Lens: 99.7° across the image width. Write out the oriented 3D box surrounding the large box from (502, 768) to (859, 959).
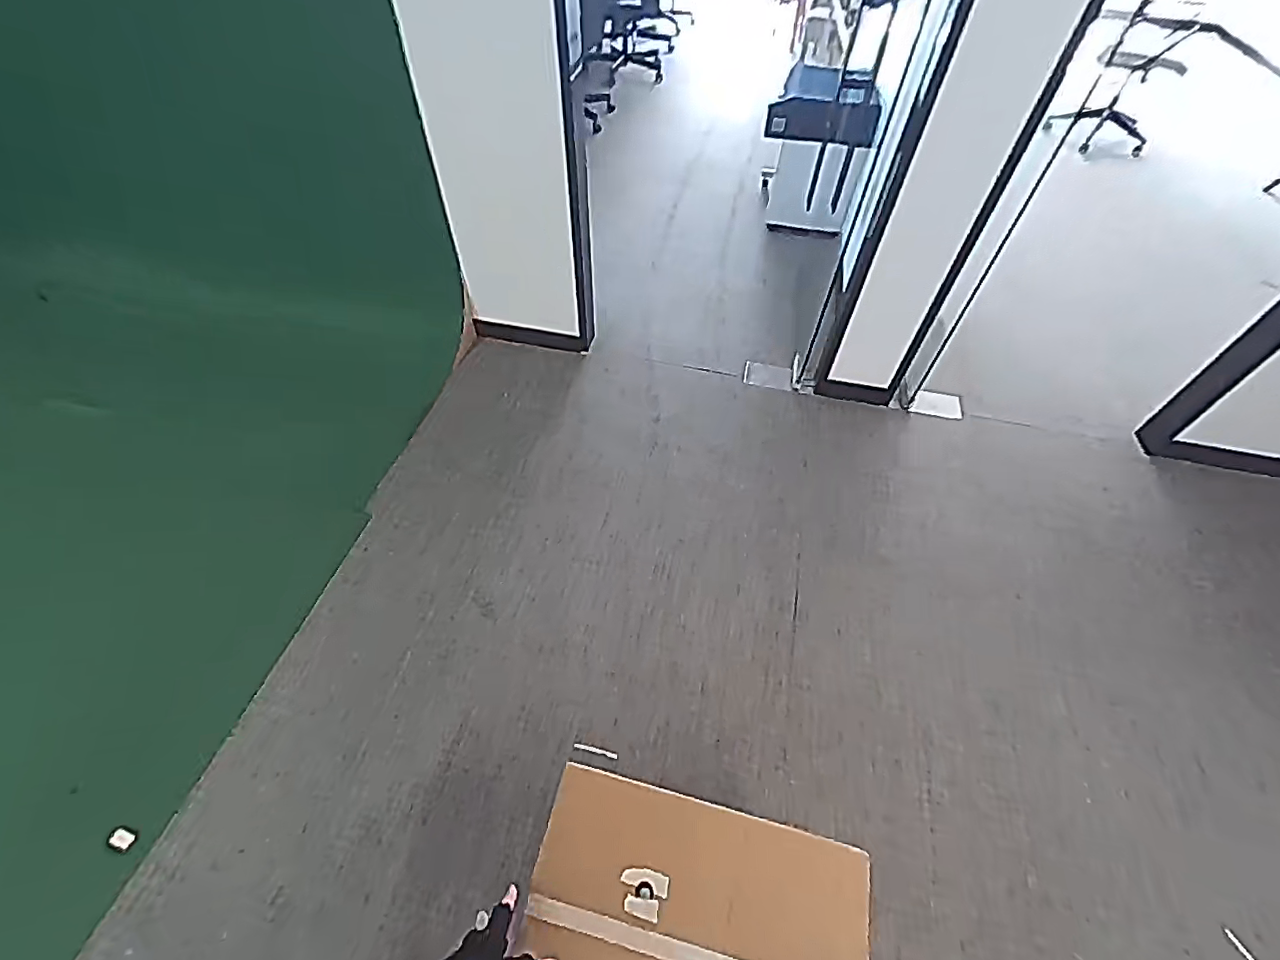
[{"bbox_3d":[0.050,0.630,0.746,0.408,0.320,0.320,12,57,9],"label":"large box"}]
